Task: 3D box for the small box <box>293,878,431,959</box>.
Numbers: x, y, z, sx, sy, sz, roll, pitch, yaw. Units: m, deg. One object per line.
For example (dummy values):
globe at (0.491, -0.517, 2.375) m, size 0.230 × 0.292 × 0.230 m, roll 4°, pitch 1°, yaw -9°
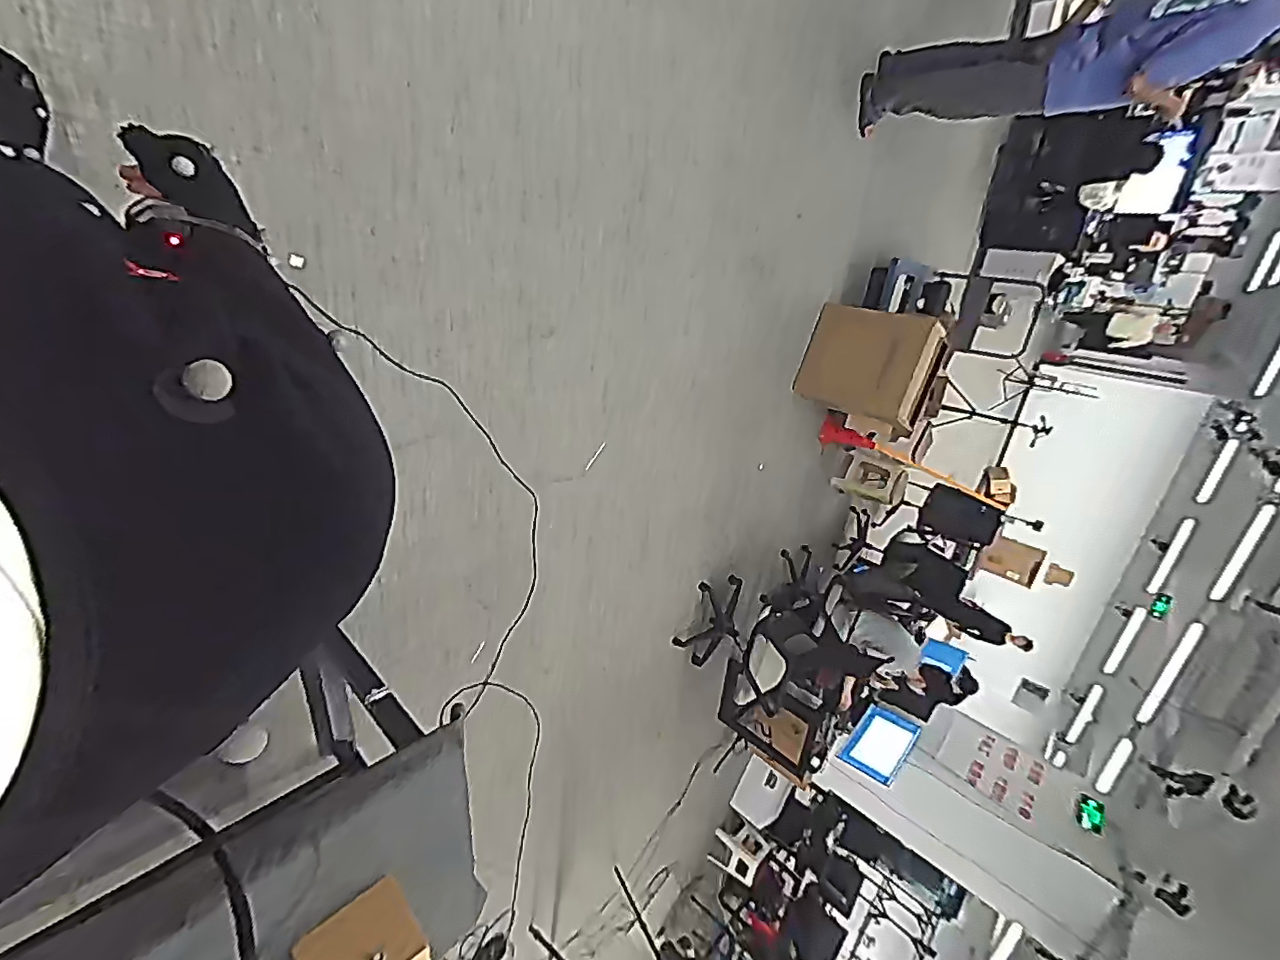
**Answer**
small box at (-0.508, 0.904, 1.004) m, size 0.179 × 0.176 × 0.168 m, roll -21°, pitch 124°, yaw -42°
